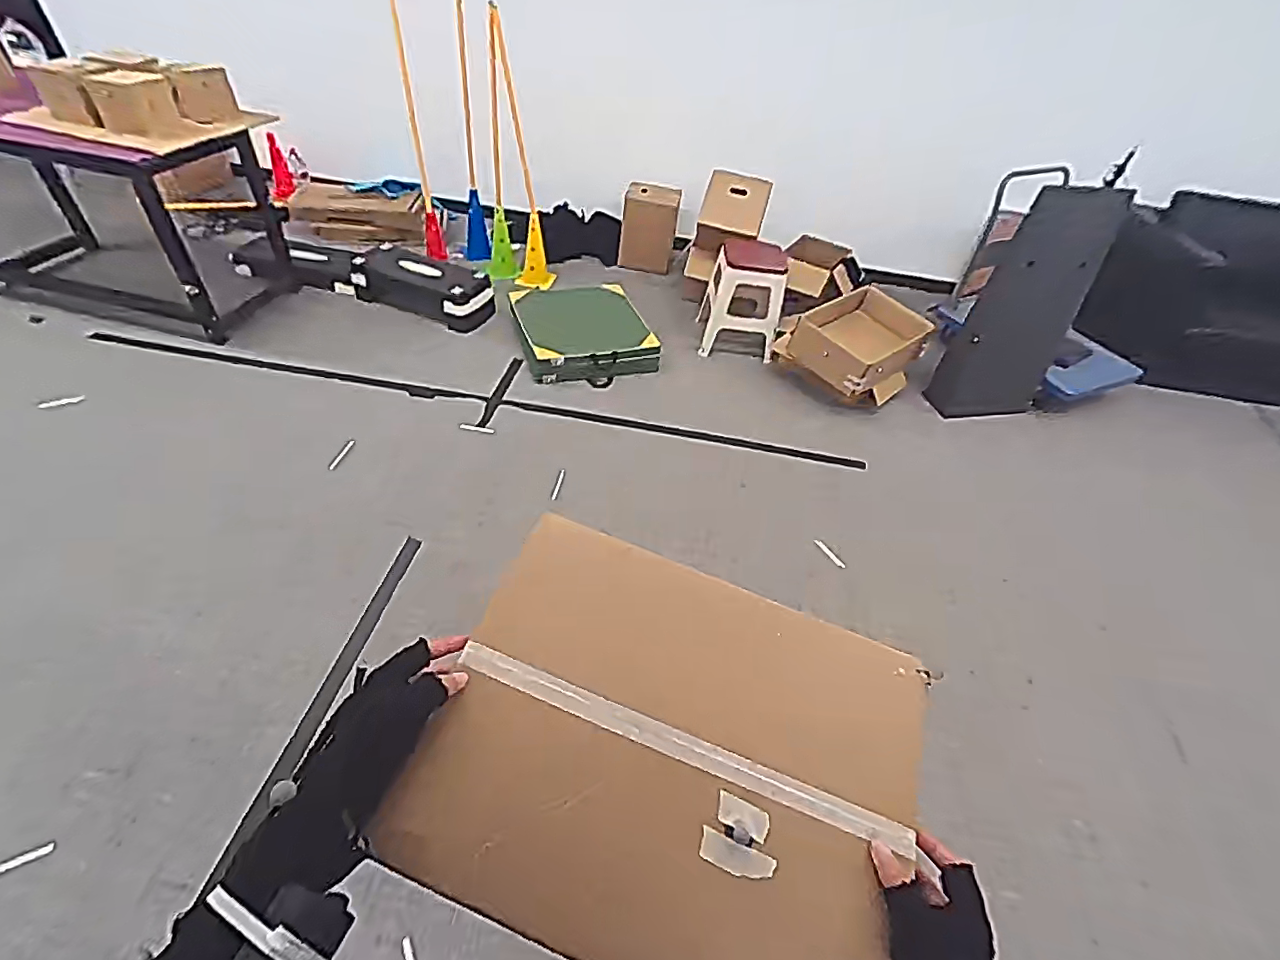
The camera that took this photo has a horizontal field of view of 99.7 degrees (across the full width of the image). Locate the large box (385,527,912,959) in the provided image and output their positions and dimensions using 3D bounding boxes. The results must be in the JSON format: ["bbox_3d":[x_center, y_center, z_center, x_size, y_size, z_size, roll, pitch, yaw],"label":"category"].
[{"bbox_3d":[0.018,0.312,0.603,0.408,0.320,0.320,22,58,6],"label":"large box"}]
